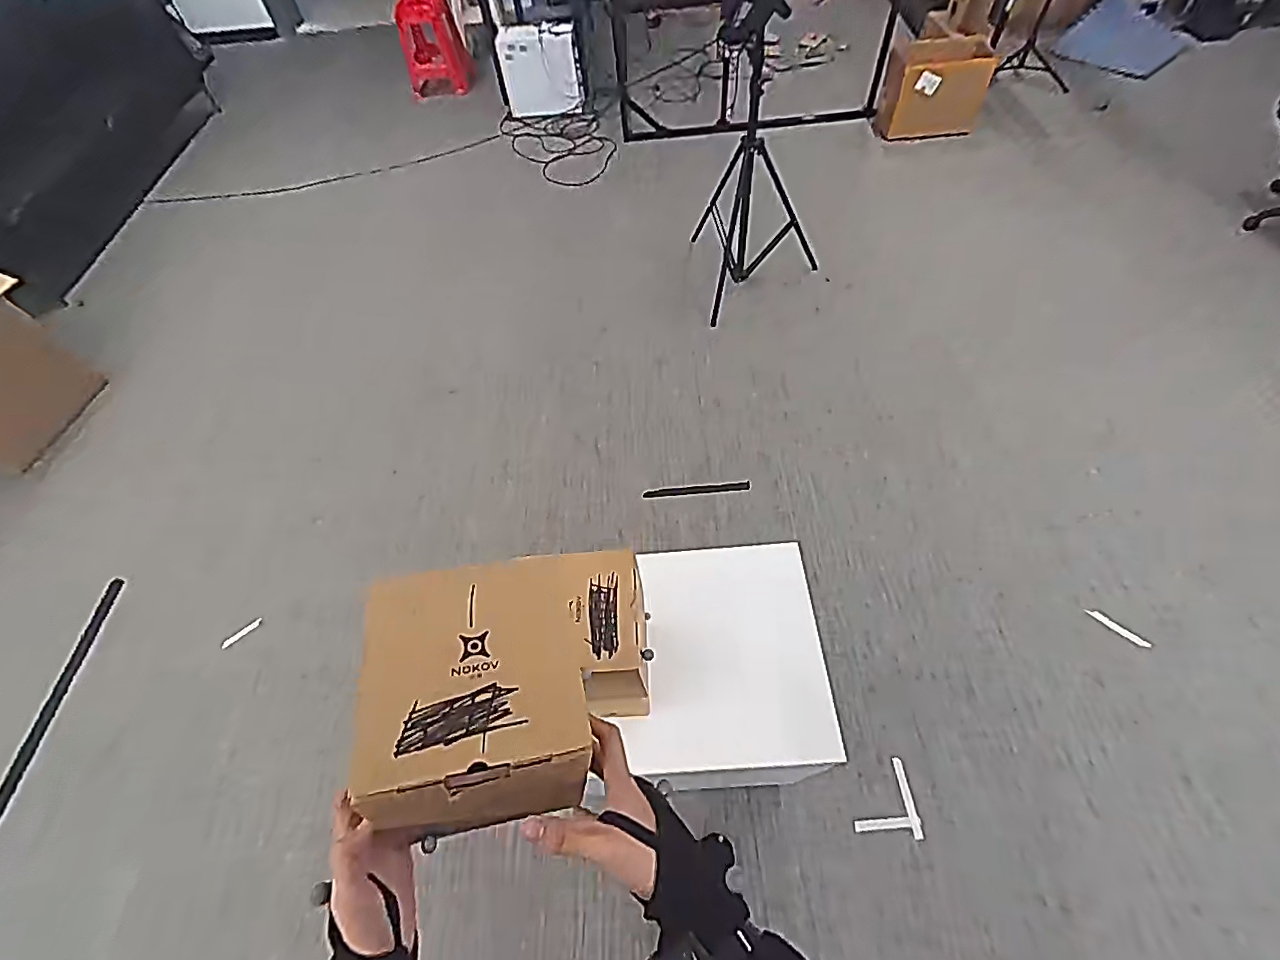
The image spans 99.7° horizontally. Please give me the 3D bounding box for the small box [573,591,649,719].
[{"bbox_3d":[-0.073,0.302,0.913,0.168,0.176,0.179,-4,57,3],"label":"small box"}]

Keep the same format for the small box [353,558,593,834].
[{"bbox_3d":[-0.138,0.195,0.485,0.168,0.176,0.179,-4,48,-15],"label":"small box"}]
